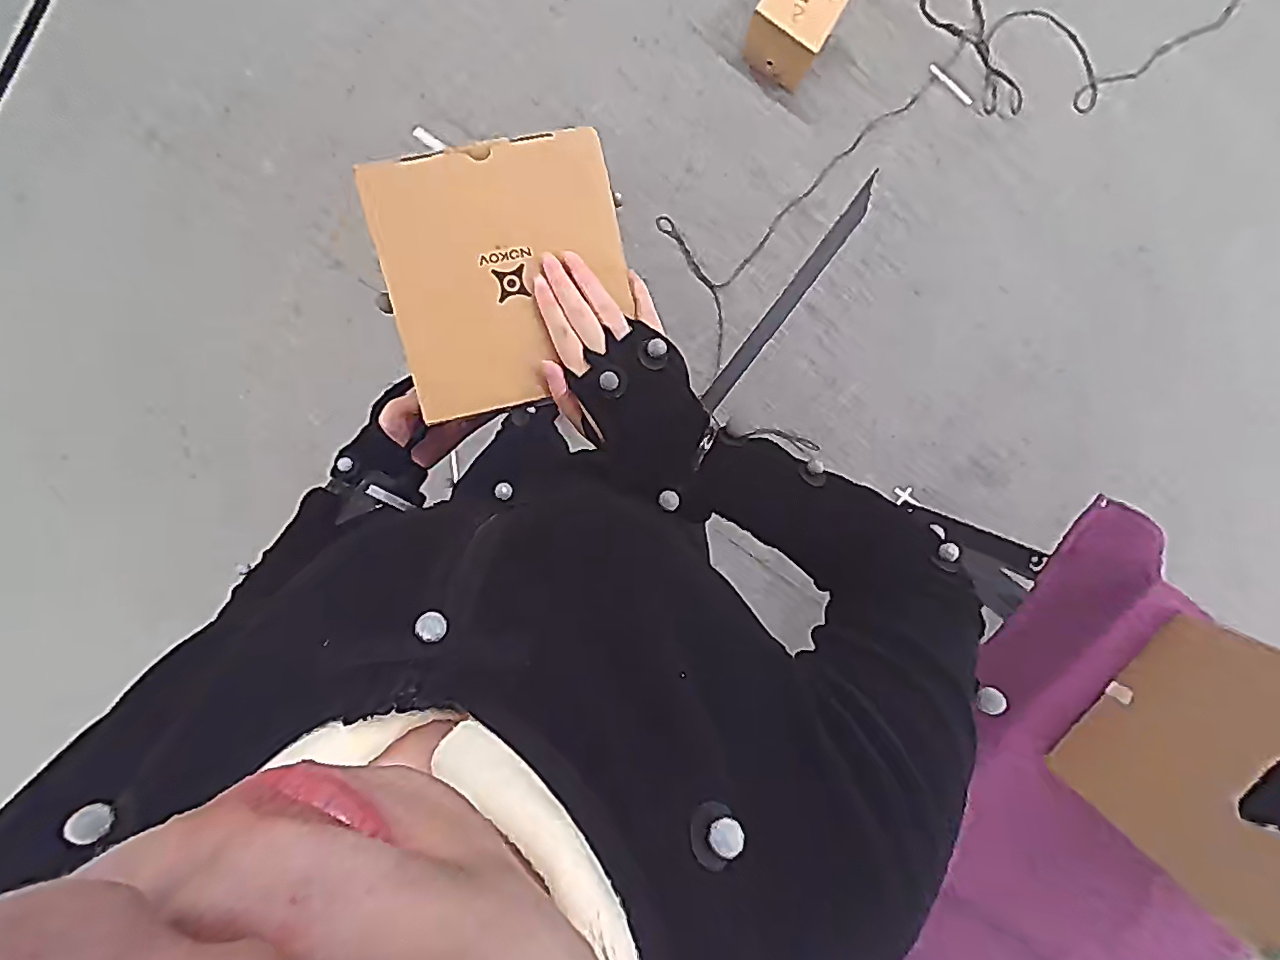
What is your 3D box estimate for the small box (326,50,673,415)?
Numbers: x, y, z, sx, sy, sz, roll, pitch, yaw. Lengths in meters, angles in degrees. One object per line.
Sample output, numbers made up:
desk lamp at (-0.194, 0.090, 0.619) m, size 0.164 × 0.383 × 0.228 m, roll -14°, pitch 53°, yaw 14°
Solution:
small box at (-0.092, -0.167, 0.410) m, size 0.179 × 0.176 × 0.168 m, roll -17°, pitch 79°, yaw 12°
